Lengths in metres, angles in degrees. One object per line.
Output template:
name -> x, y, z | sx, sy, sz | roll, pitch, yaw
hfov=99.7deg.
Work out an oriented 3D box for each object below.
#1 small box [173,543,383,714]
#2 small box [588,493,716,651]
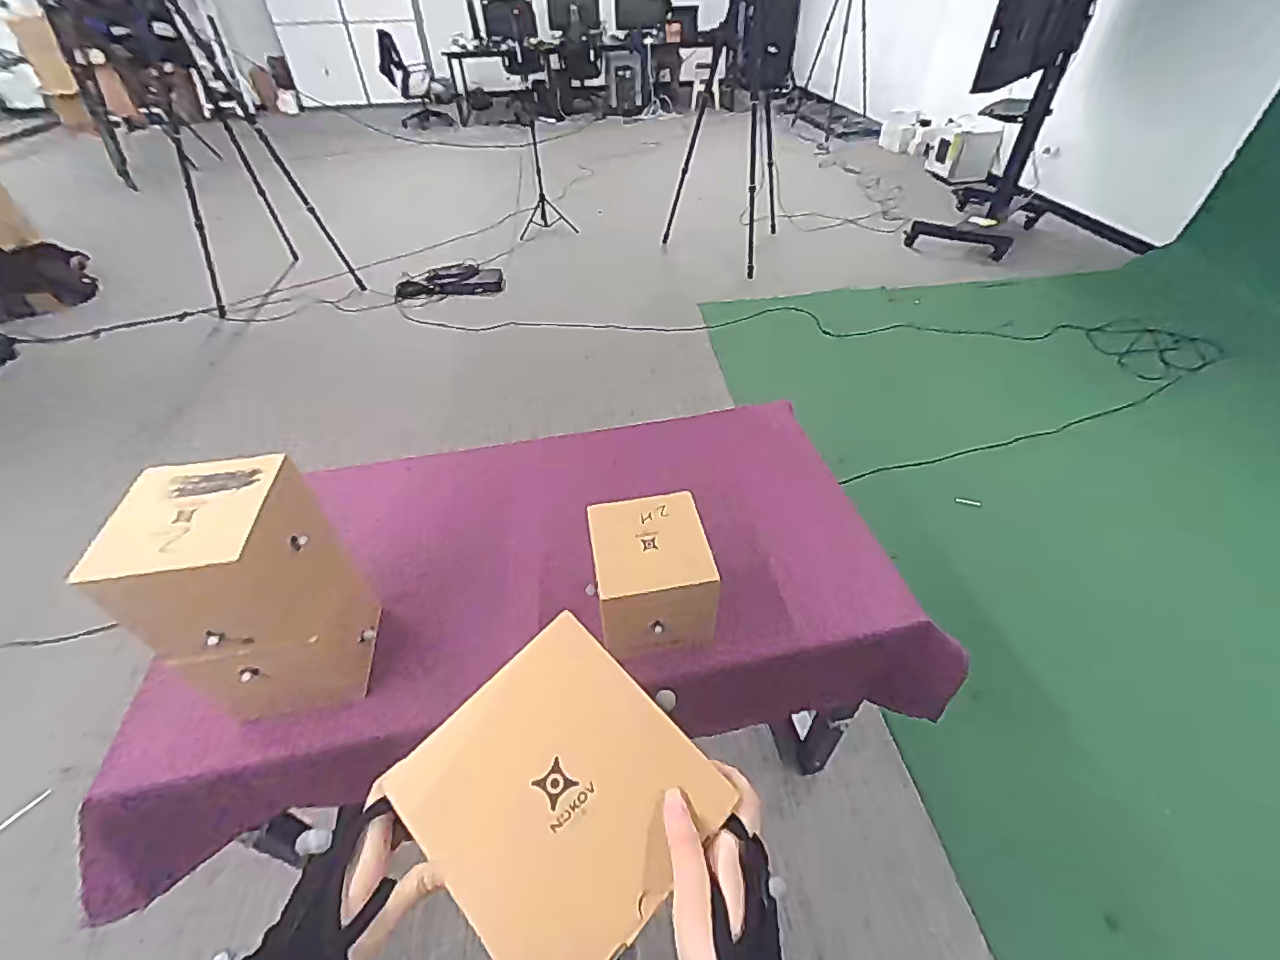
small box -> -0.502, 0.218, 0.784 | 0.179, 0.176, 0.168 | -8, 44, -7
small box -> 0.014, 0.148, 0.838 | 0.168, 0.176, 0.179 | -7, 44, -6
